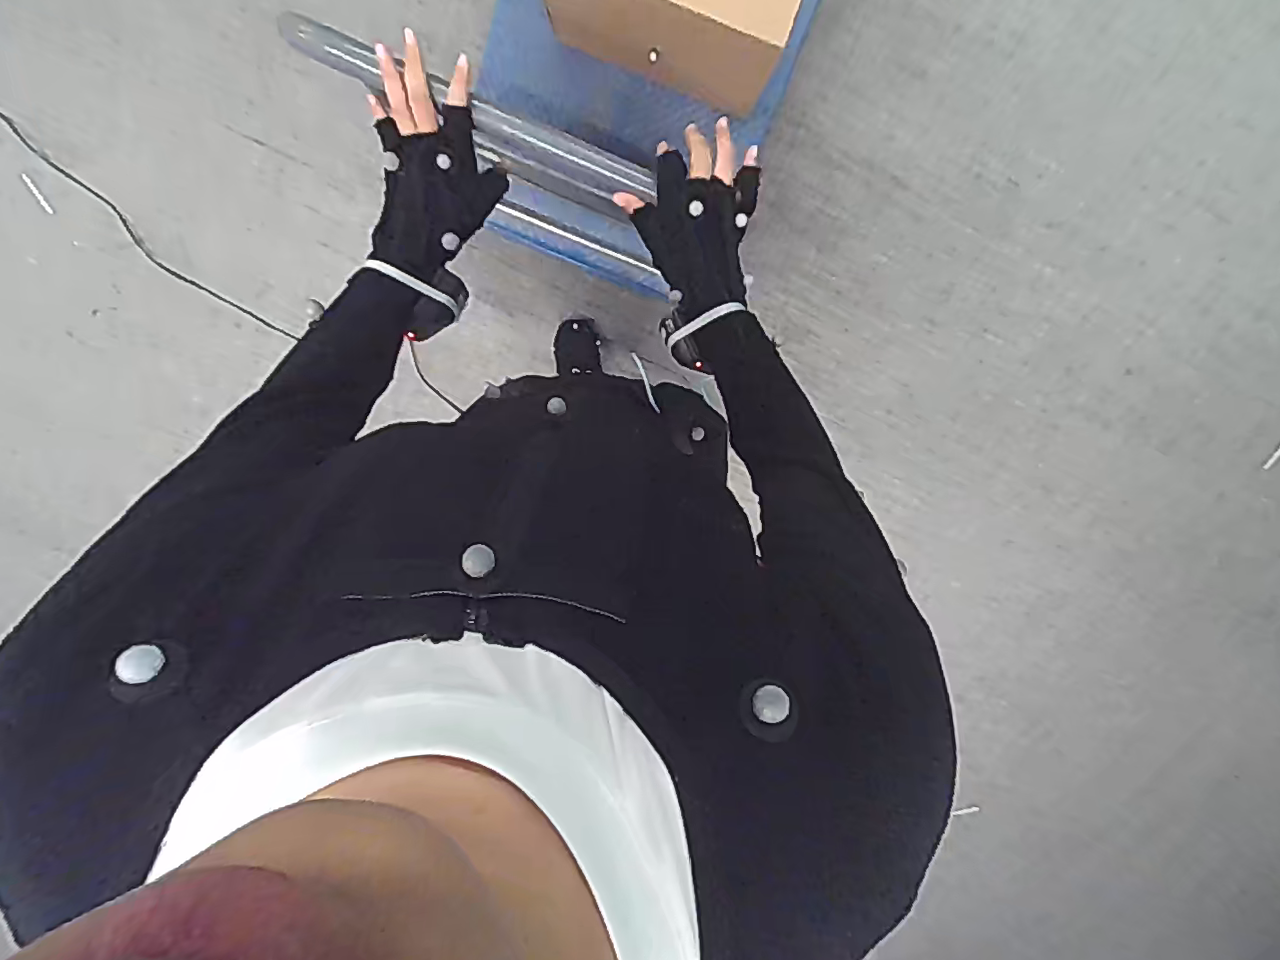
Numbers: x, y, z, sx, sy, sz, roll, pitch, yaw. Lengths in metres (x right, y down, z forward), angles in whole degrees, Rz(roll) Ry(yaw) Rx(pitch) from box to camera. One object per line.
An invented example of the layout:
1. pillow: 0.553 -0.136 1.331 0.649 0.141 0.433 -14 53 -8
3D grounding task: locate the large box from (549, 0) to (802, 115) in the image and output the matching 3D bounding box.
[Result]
1. large box: 0.080 -0.890 0.899 0.408 0.320 0.320 19 105 -5
